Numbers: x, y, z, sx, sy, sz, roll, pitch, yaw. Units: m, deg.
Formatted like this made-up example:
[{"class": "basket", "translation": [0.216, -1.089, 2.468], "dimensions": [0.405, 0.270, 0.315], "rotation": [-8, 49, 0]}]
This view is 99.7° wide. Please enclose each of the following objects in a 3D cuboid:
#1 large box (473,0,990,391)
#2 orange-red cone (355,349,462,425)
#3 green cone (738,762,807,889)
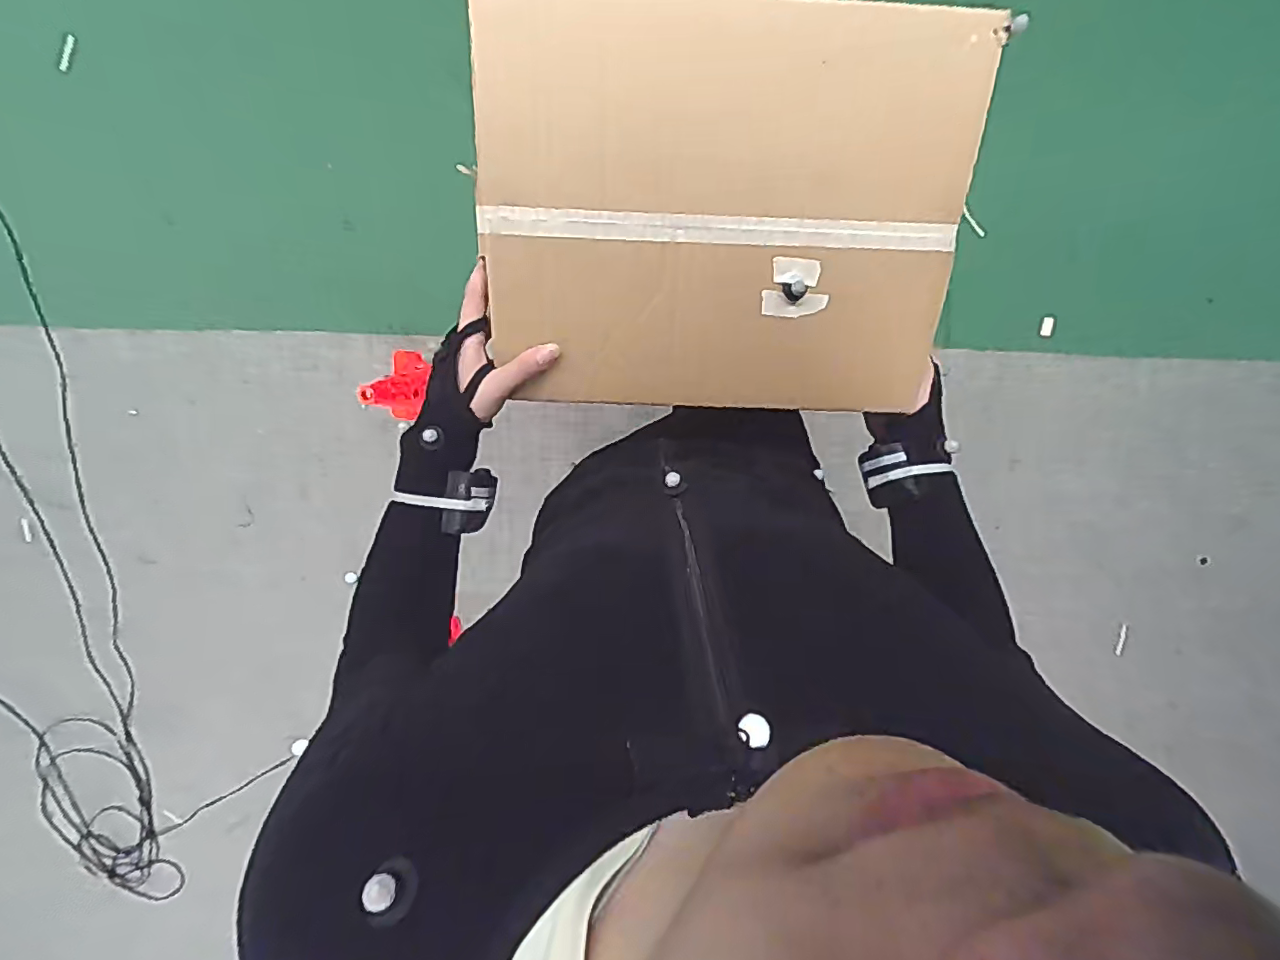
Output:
[{"class": "large box", "translation": [0.063, -0.287, 0.601], "dimensions": [0.408, 0.320, 0.320], "rotation": [1, 114, -3]}, {"class": "orange-red cone", "translation": [-0.623, -0.232, 1.387], "dimensions": [0.199, 0.360, 0.198], "rotation": [9, 101, 0]}, {"class": "green cone", "translation": [0.445, 1.089, 1.673], "dimensions": [0.200, 0.368, 0.202], "rotation": [8, 101, -2]}]
